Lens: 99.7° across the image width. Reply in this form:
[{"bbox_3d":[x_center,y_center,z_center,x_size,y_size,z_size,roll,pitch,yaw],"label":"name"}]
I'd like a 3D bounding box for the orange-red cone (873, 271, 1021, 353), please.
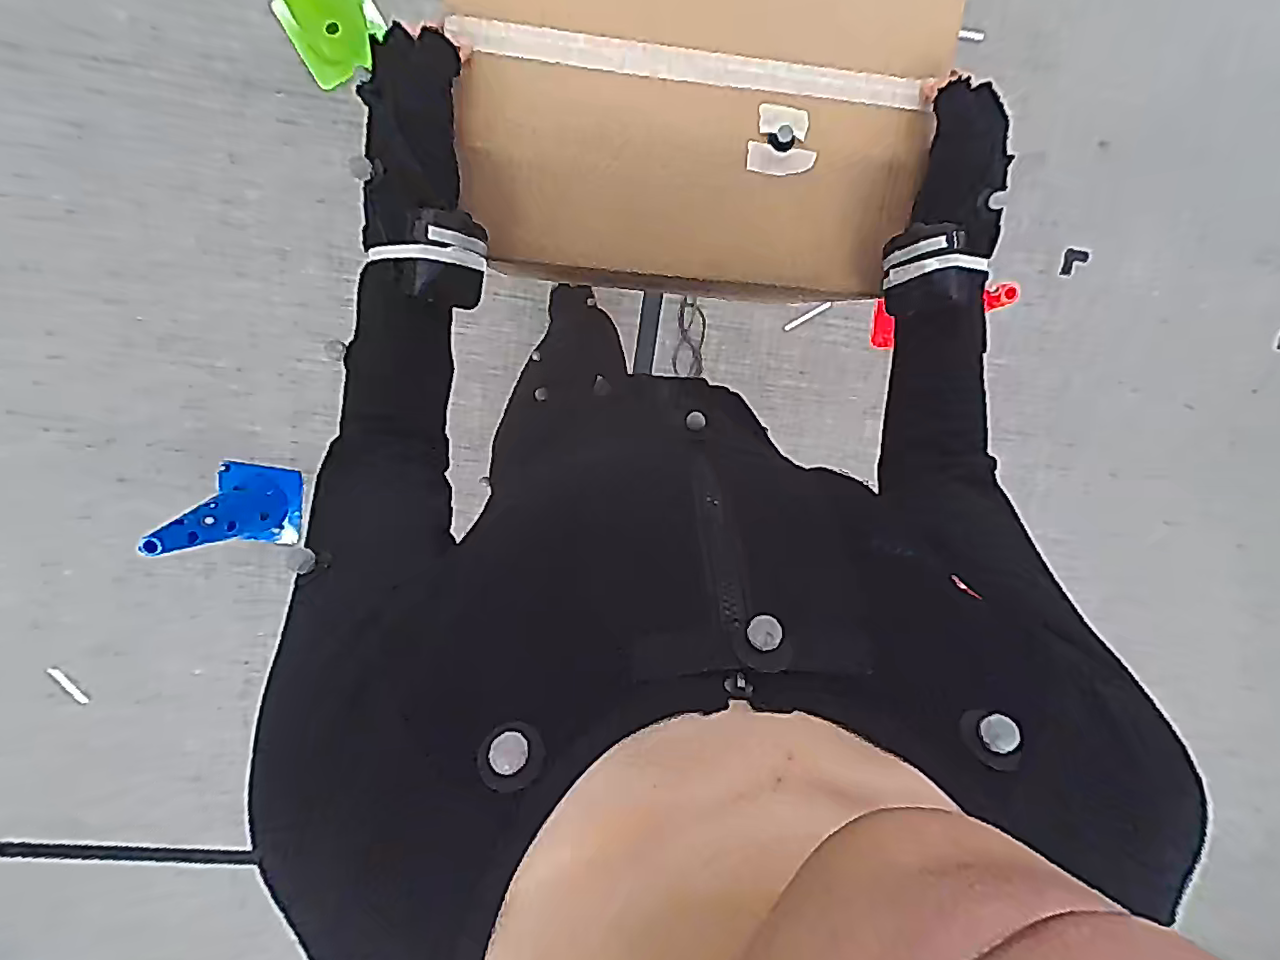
[{"bbox_3d":[0.742,-0.419,1.277,0.198,0.360,0.199,4,99,-7],"label":"orange-red cone"}]

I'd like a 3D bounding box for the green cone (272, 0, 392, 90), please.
[{"bbox_3d":[-0.670,-0.976,1.034,0.202,0.368,0.200,-30,102,3],"label":"green cone"}]

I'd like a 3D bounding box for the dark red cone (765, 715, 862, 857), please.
[{"bbox_3d":[0.503,0.844,1.478,0.201,0.394,0.202,12,100,-6],"label":"dark red cone"}]

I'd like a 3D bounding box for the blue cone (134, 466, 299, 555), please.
[{"bbox_3d":[-0.971,0.096,1.235,0.192,0.380,0.193,10,100,-6],"label":"blue cone"}]

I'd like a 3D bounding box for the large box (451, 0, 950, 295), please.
[{"bbox_3d":[0.034,-0.380,0.578,0.408,0.320,0.320,3,107,-7],"label":"large box"}]
